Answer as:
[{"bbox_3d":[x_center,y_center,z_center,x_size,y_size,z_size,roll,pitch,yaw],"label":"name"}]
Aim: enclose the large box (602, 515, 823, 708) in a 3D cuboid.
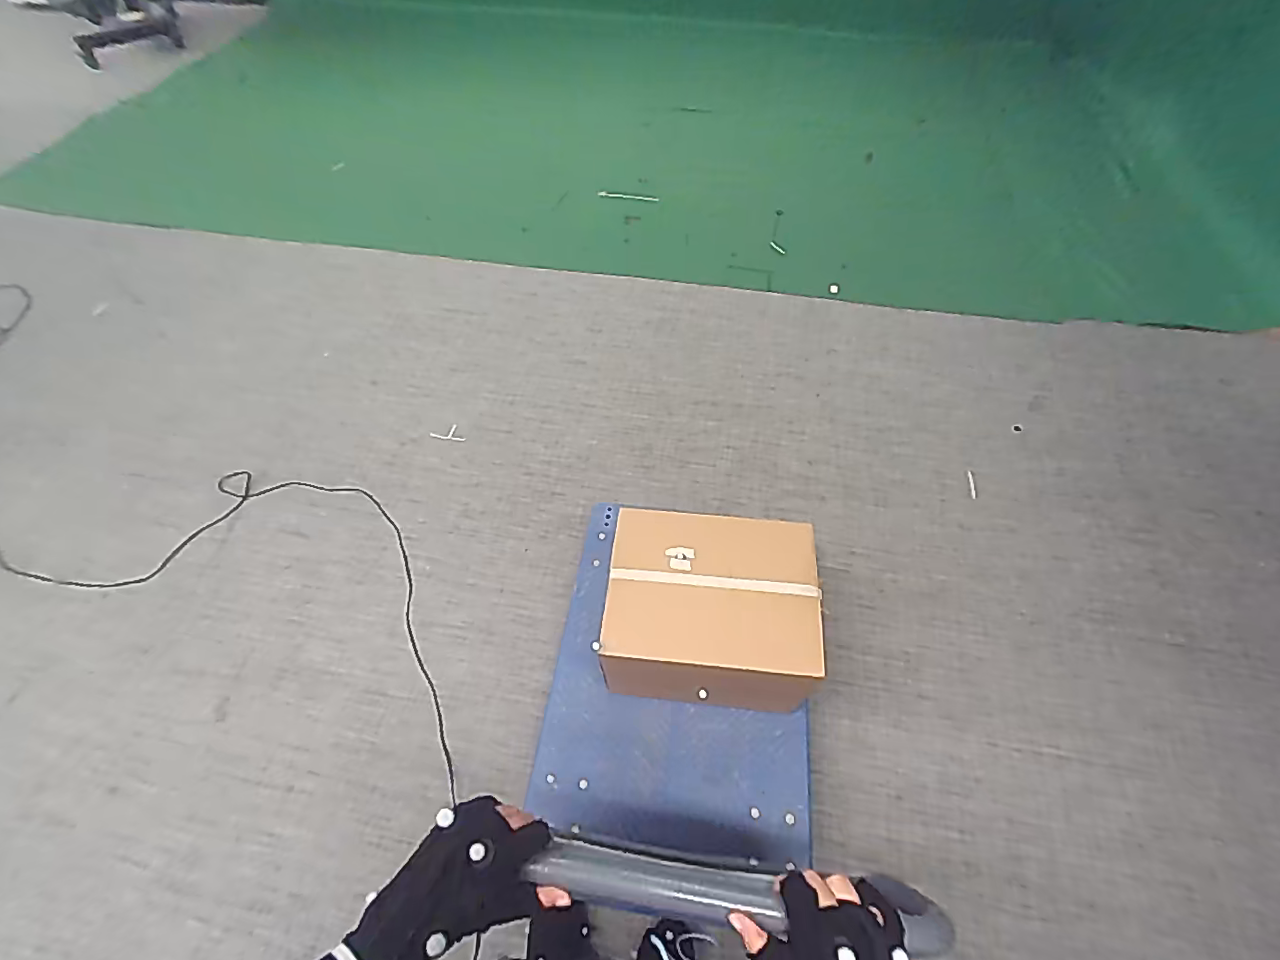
[{"bbox_3d":[0.145,0.293,1.173,0.408,0.320,0.320,3,55,4],"label":"large box"}]
